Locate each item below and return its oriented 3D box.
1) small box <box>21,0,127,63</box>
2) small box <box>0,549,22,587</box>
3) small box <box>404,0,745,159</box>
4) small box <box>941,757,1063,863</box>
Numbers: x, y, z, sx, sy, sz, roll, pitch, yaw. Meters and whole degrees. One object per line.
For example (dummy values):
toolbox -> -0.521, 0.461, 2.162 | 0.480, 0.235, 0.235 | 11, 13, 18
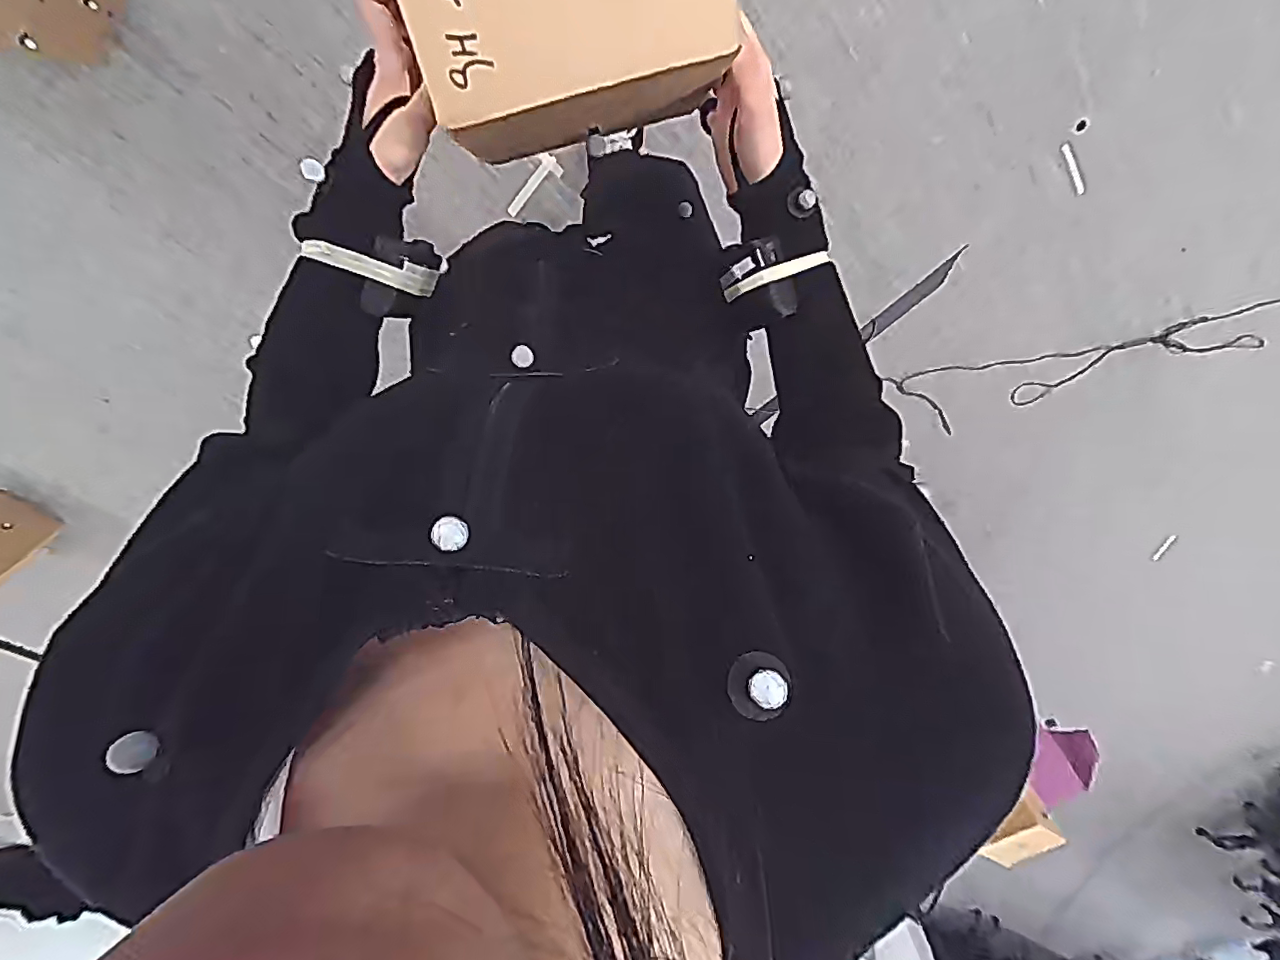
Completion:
small box -> -1.038, -0.852, 0.918 | 0.179, 0.176, 0.168 | 35, 114, -24
small box -> -1.798, 0.254, 1.397 | 0.168, 0.176, 0.179 | -36, 121, 19
small box -> -0.051, -0.320, 0.337 | 0.179, 0.176, 0.168 | -14, 114, 0
small box -> 0.919, 0.843, 1.389 | 0.179, 0.176, 0.168 | 35, 114, -26
